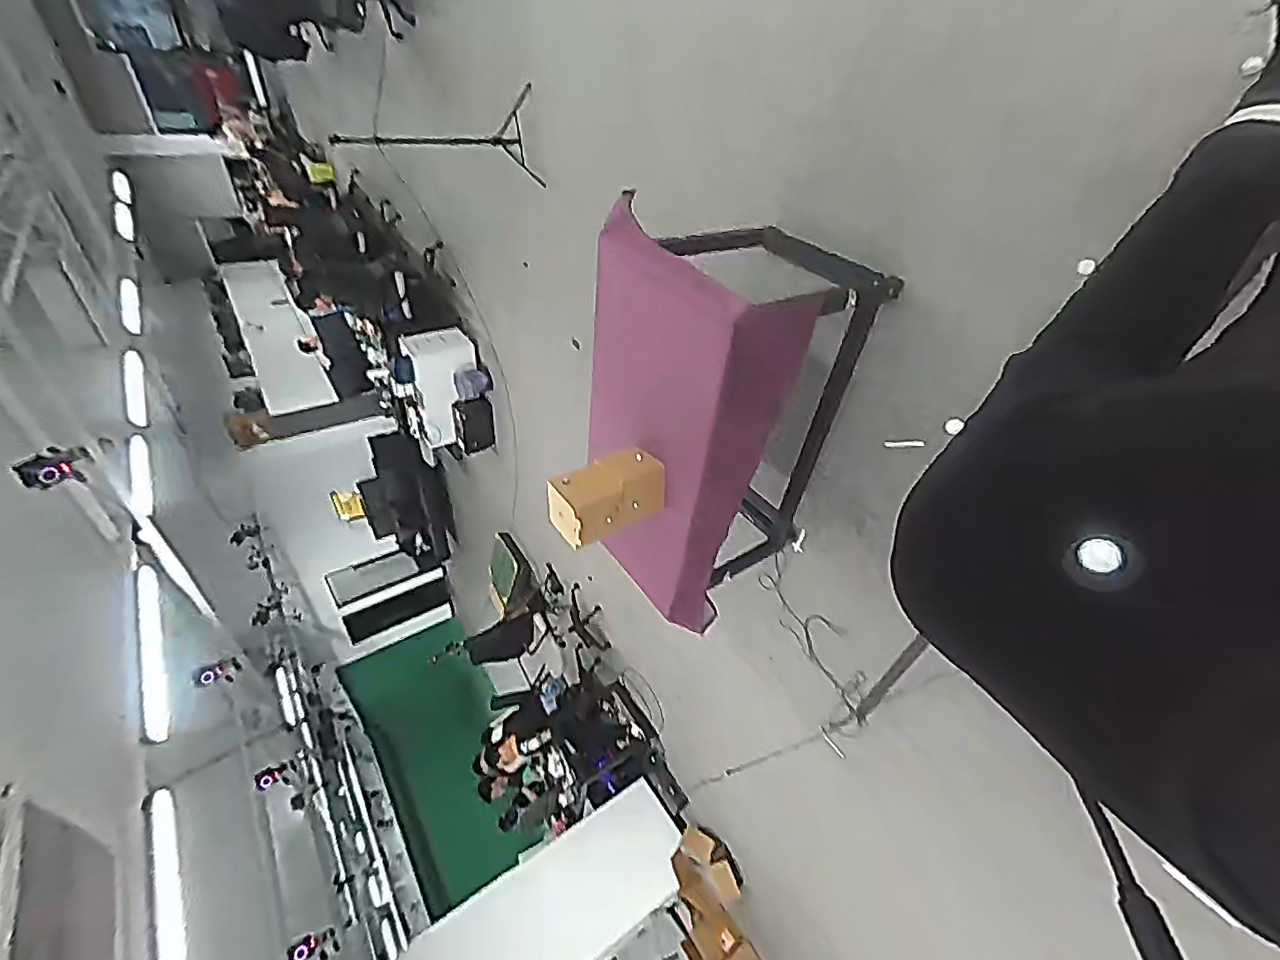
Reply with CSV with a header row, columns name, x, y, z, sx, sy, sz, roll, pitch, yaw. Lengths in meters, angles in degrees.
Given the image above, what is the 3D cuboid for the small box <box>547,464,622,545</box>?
name,x,y,z,sx,sy,sz,roll,pitch,yaw
small box,-0.174,0.068,1.695,0.179,0.176,0.168,41,142,39

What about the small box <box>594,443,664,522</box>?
name,x,y,z,sx,sy,sz,roll,pitch,yaw
small box,-0.034,0.003,1.757,0.168,0.176,0.179,37,137,43
